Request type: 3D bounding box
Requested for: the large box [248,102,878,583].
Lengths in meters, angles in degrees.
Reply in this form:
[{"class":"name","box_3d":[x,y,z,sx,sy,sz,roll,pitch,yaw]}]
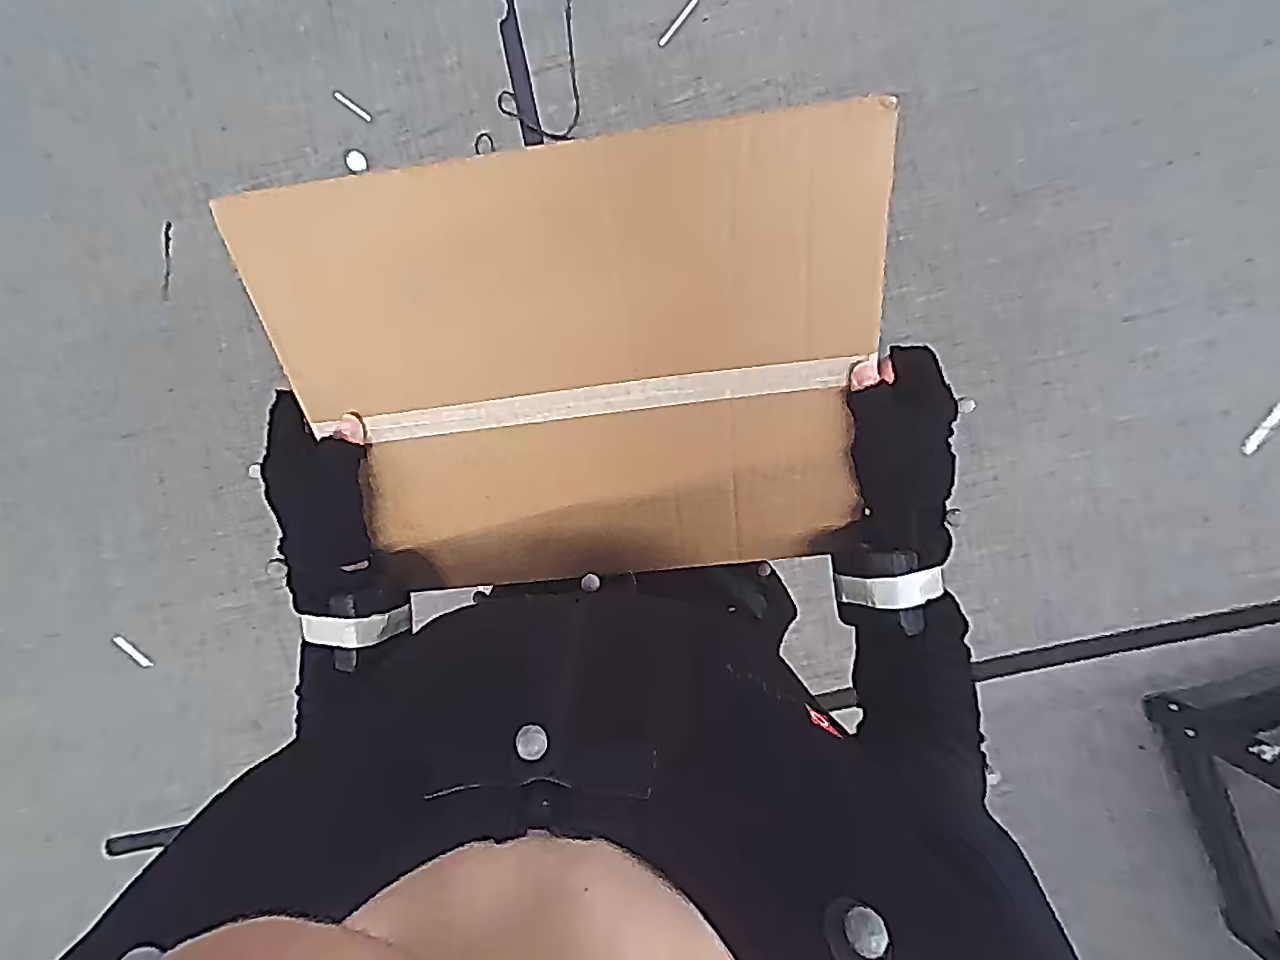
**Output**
[{"class":"large box","box_3d":[-0.036,-0.133,0.528,0.408,0.320,0.320,-6,120,5]}]
